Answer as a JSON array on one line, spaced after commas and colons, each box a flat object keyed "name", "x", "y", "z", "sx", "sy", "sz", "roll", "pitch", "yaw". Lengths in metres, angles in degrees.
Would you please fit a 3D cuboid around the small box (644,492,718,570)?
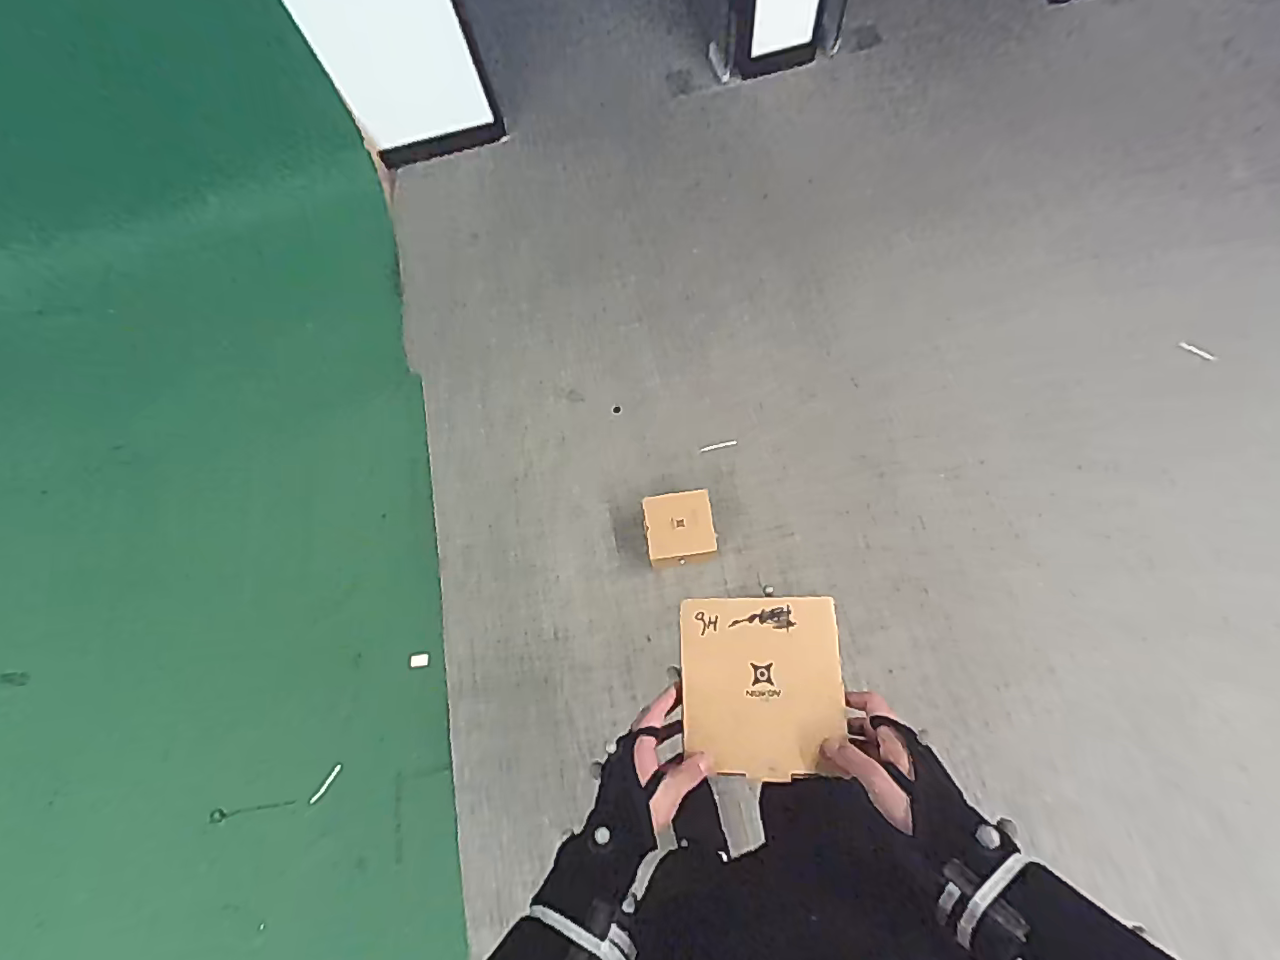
[{"name": "small box", "x": 0.113, "y": 0.144, "z": 1.460, "sx": 0.179, "sy": 0.176, "sz": 0.168, "roll": -8, "pitch": 72, "yaw": 3}]

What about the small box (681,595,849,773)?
[{"name": "small box", "x": 0.133, "y": 0.228, "z": 0.639, "sx": 0.168, "sy": 0.176, "sz": 0.179, "roll": -1, "pitch": 76, "yaw": 3}]
